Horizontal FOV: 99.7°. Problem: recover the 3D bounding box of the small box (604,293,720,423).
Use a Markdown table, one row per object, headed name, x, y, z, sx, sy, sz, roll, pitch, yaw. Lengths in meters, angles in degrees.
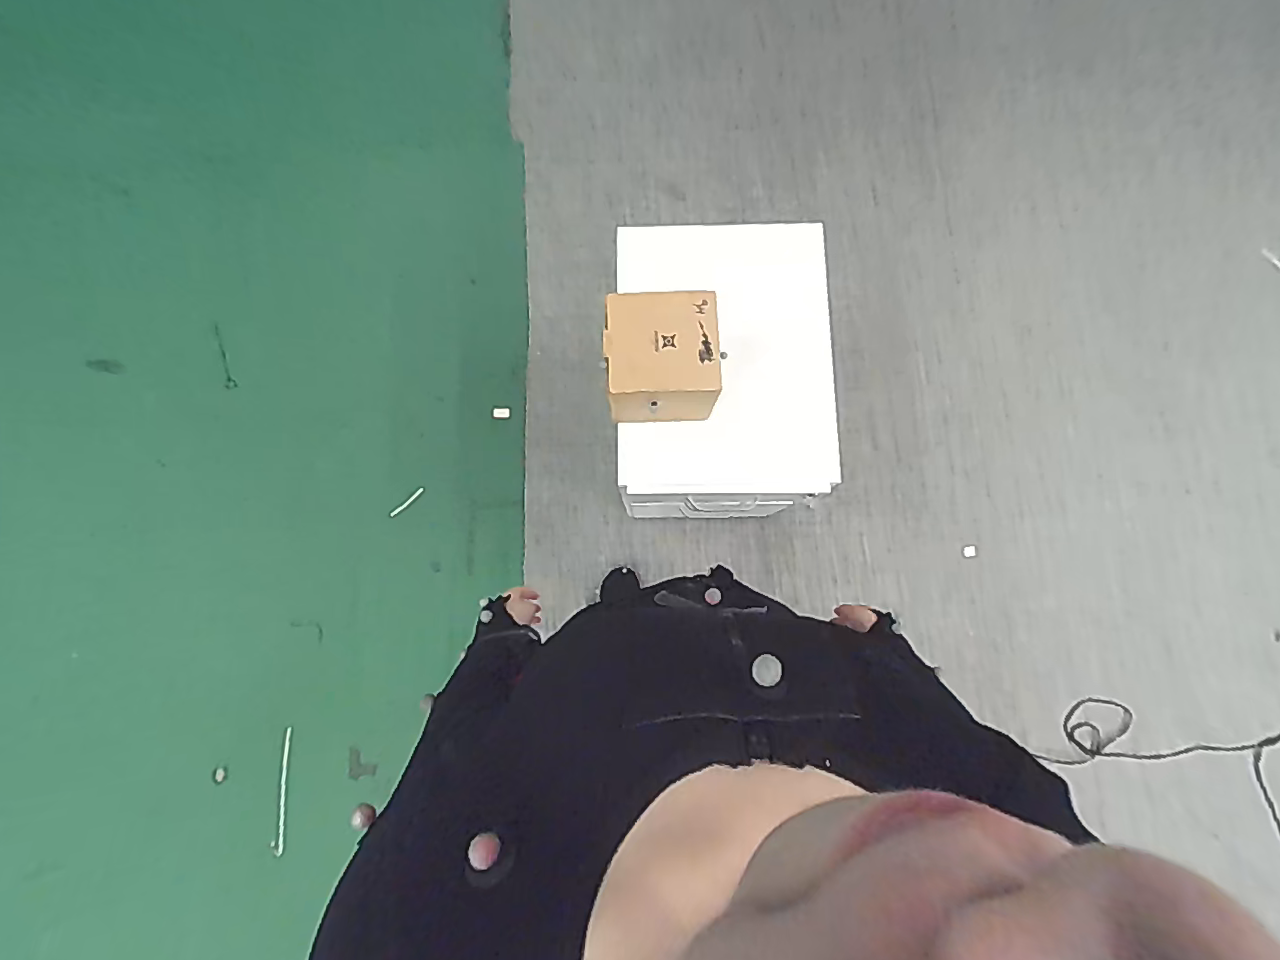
| name | x | y | z | sx | sy | sz | roll | pitch | yaw |
| --- | --- | --- | --- | --- | --- | --- | --- | --- | --- |
| small box | 0.034 | -0.196 | 0.908 | 0.179 | 0.176 | 0.168 | -2 | 80 | 0 |
